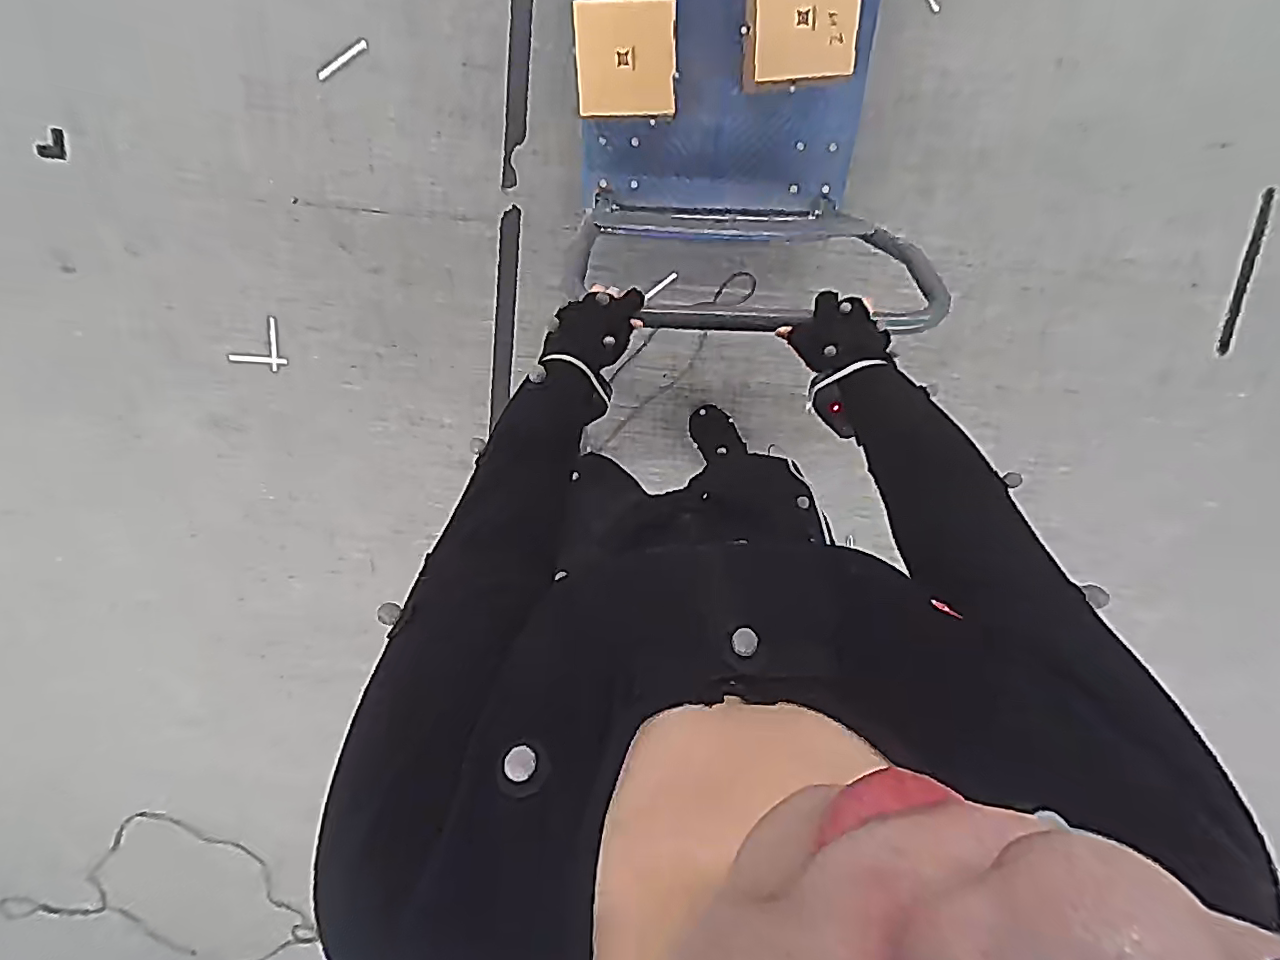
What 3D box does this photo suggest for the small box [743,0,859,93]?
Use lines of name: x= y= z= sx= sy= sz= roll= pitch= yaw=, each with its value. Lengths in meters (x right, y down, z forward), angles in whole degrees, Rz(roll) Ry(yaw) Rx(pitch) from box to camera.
small box: x=0.284 y=-0.819 z=0.983 sx=0.179 sy=0.176 sz=0.168 roll=-2 pitch=120 yaw=3

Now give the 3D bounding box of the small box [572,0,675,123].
small box: x=-0.026 y=-0.779 z=1.017 sx=0.179 sy=0.176 sz=0.168 roll=-1 pitch=120 yaw=1
